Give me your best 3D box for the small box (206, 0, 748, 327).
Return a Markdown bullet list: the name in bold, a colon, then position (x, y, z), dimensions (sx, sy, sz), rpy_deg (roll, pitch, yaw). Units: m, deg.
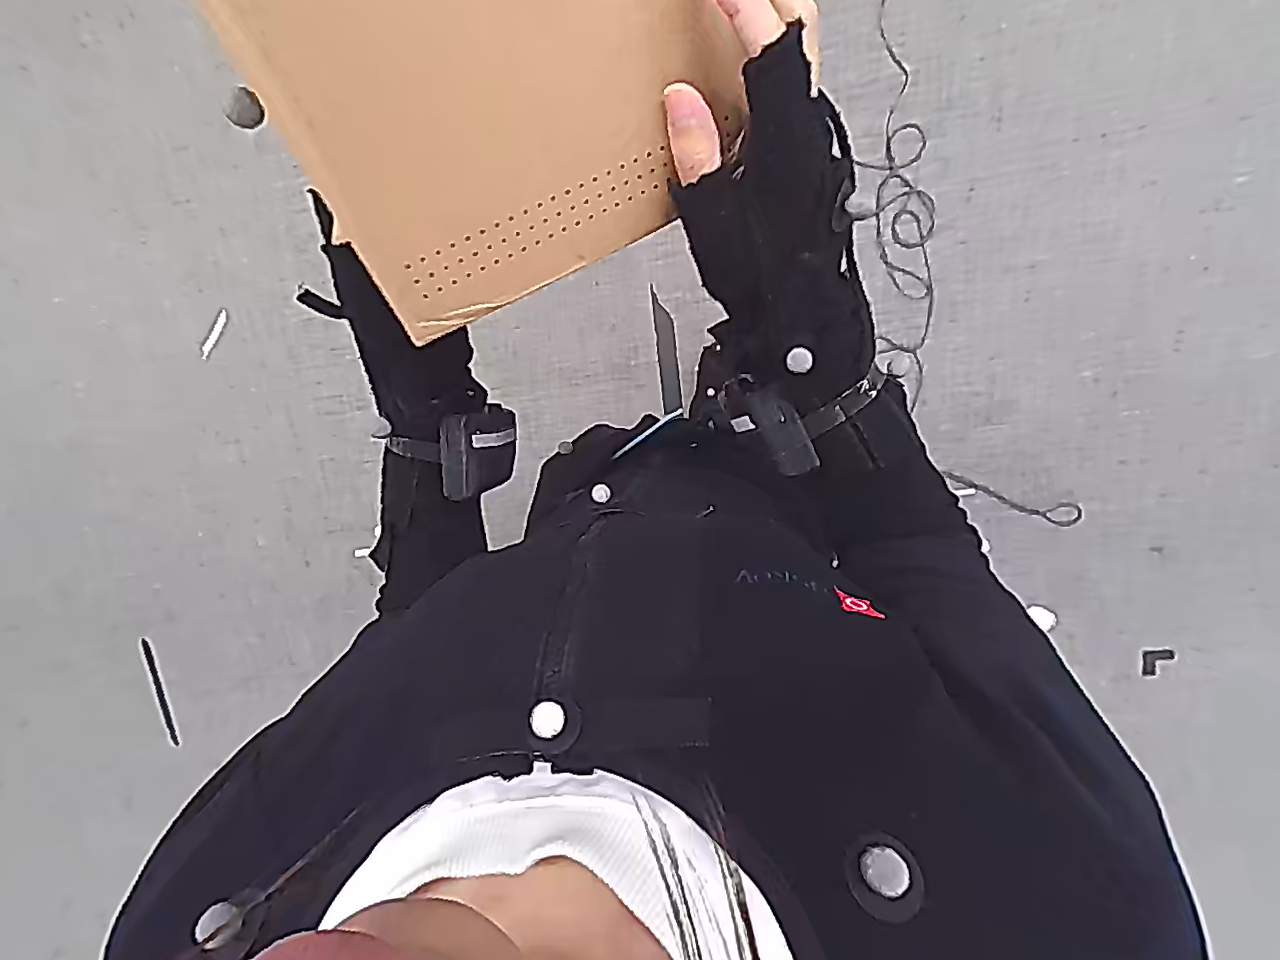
- **small box**: position (-0.071, -0.198, 0.241), dimensions (0.179, 0.168, 0.176), rpy_deg (-28, 138, -6)
